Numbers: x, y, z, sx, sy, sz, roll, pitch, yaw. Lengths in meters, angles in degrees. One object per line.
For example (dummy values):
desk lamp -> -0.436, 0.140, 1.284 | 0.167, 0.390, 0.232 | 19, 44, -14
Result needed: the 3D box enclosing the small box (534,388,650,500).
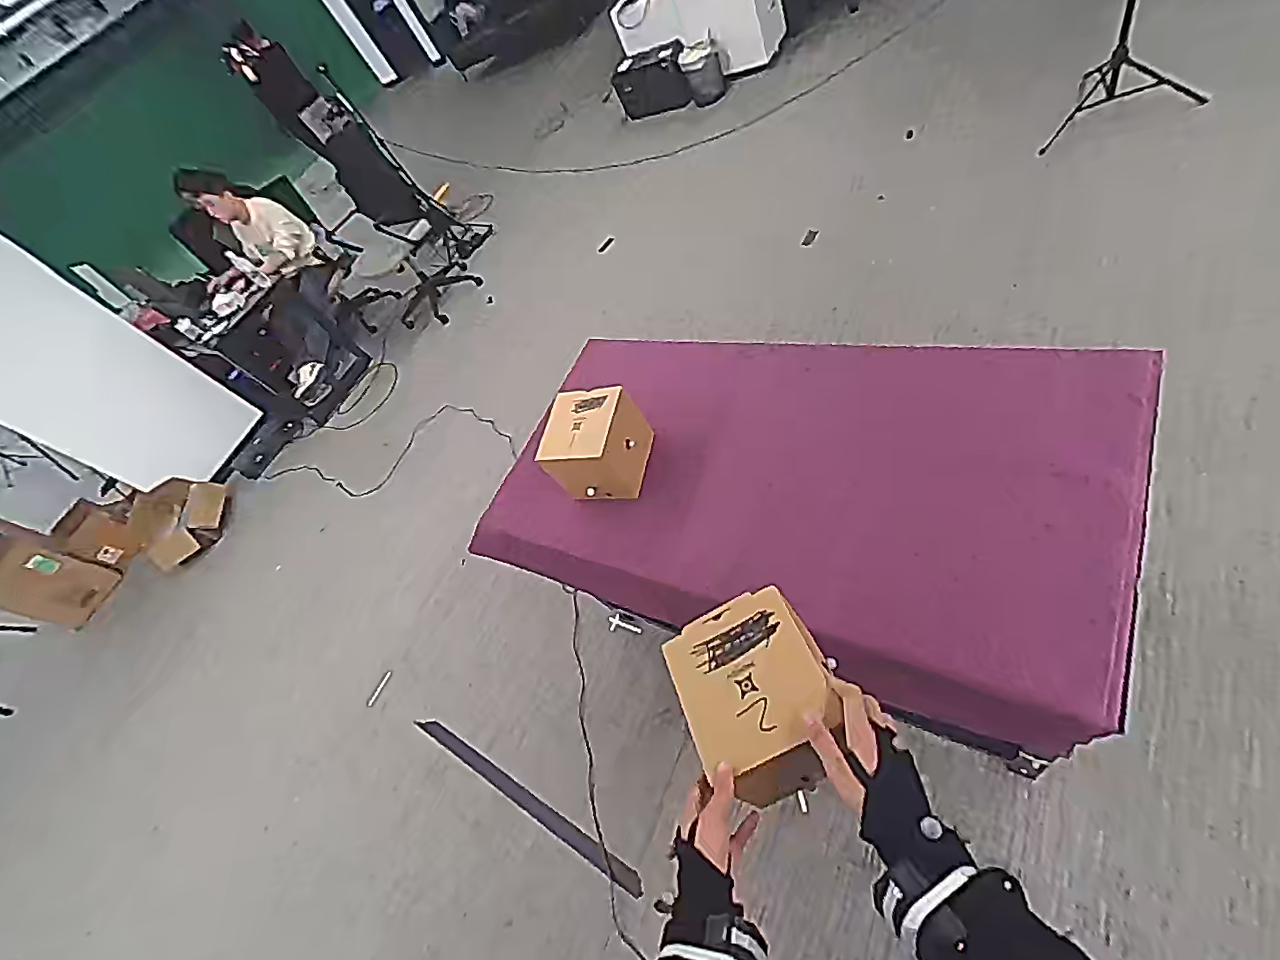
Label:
small box -> -0.093, -0.073, 1.160 | 0.168, 0.176, 0.179 | -2, 59, 29
